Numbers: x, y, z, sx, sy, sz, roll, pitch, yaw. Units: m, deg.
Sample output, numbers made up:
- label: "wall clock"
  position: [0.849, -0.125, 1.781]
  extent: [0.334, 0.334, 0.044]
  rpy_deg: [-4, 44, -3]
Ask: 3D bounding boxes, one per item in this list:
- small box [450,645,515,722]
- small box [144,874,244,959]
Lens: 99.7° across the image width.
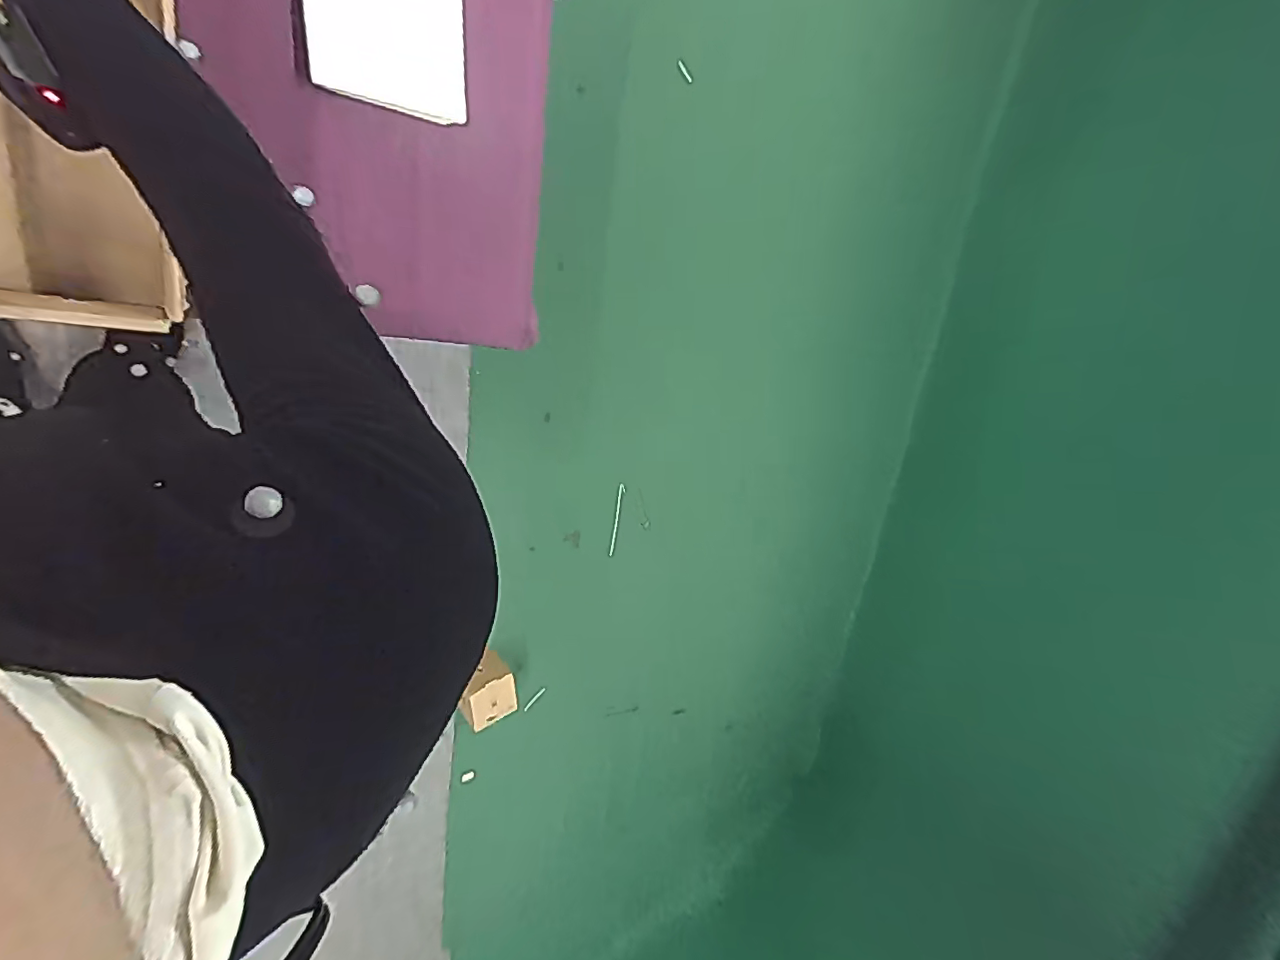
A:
- label: "small box"
  position: [-0.573, 0.725, 1.960]
  extent: [0.168, 0.176, 0.179]
  rpy_deg: [-18, 119, -35]
- label: "small box"
  position: [-1.295, 1.293, 1.569]
  extent: [0.168, 0.176, 0.179]
  rpy_deg: [38, 81, -44]
